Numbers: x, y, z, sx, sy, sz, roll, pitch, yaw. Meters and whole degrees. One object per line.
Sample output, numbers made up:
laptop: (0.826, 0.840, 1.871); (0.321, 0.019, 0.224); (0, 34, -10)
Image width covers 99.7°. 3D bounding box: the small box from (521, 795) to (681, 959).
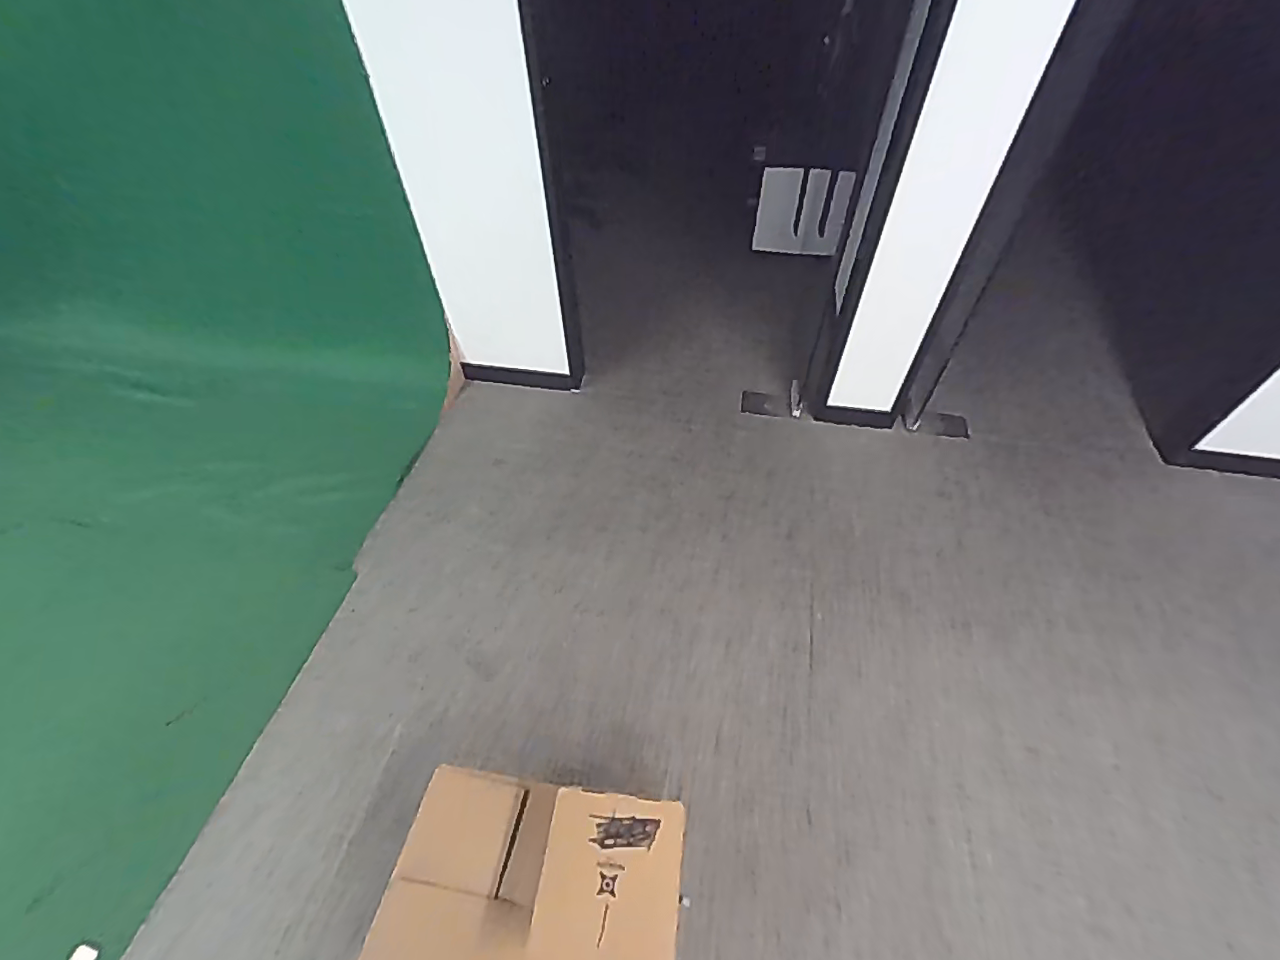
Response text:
small box: (-0.038, 0.536, 0.702); (0.168, 0.176, 0.179); (4, 50, 7)
